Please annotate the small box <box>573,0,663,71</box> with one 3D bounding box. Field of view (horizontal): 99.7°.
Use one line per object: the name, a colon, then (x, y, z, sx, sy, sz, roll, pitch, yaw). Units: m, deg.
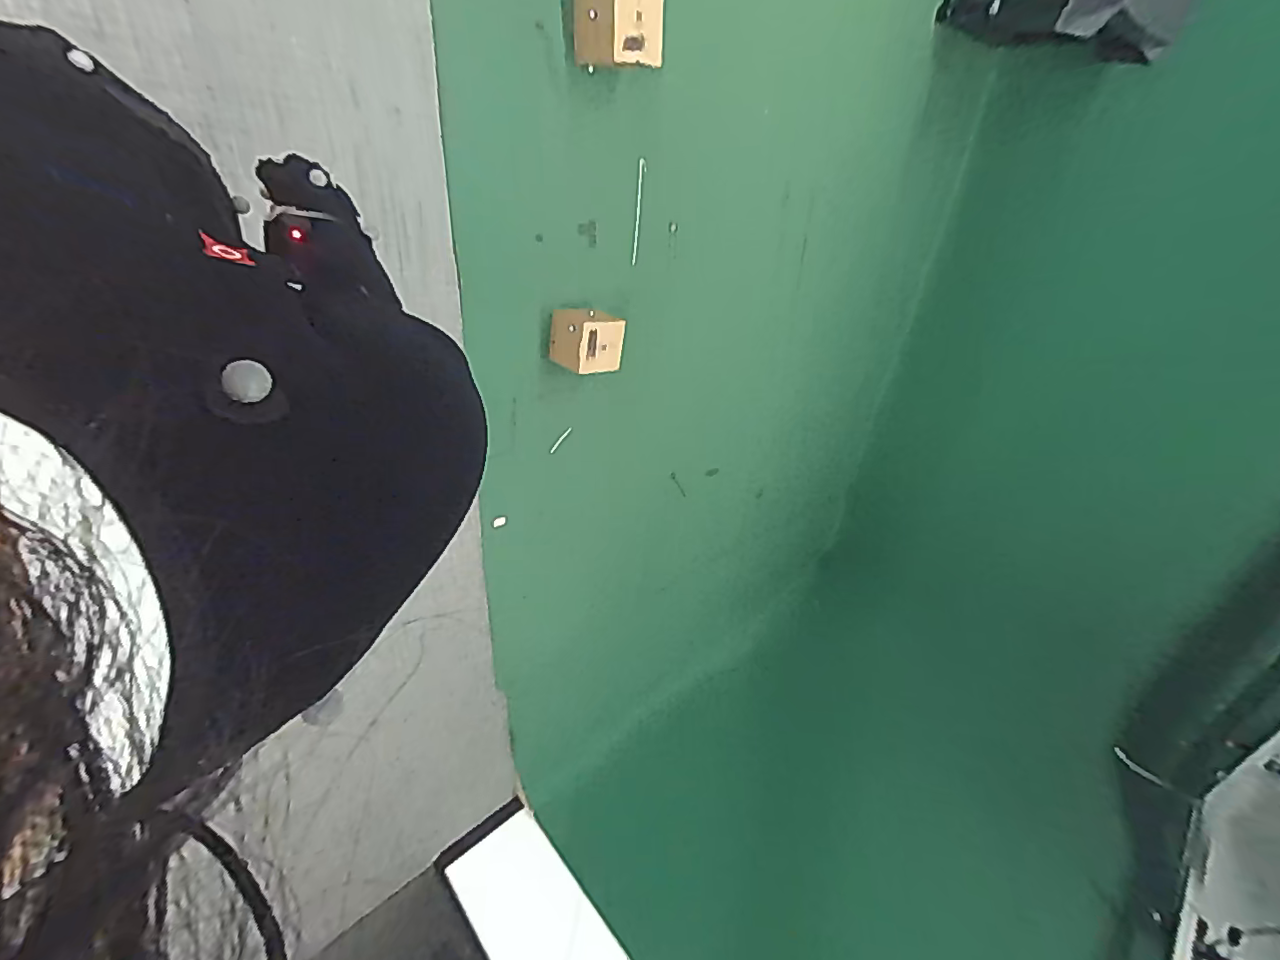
small box: (-0.060, -1.174, 1.397, 0.168, 0.176, 0.179, -25, 131, -35)
